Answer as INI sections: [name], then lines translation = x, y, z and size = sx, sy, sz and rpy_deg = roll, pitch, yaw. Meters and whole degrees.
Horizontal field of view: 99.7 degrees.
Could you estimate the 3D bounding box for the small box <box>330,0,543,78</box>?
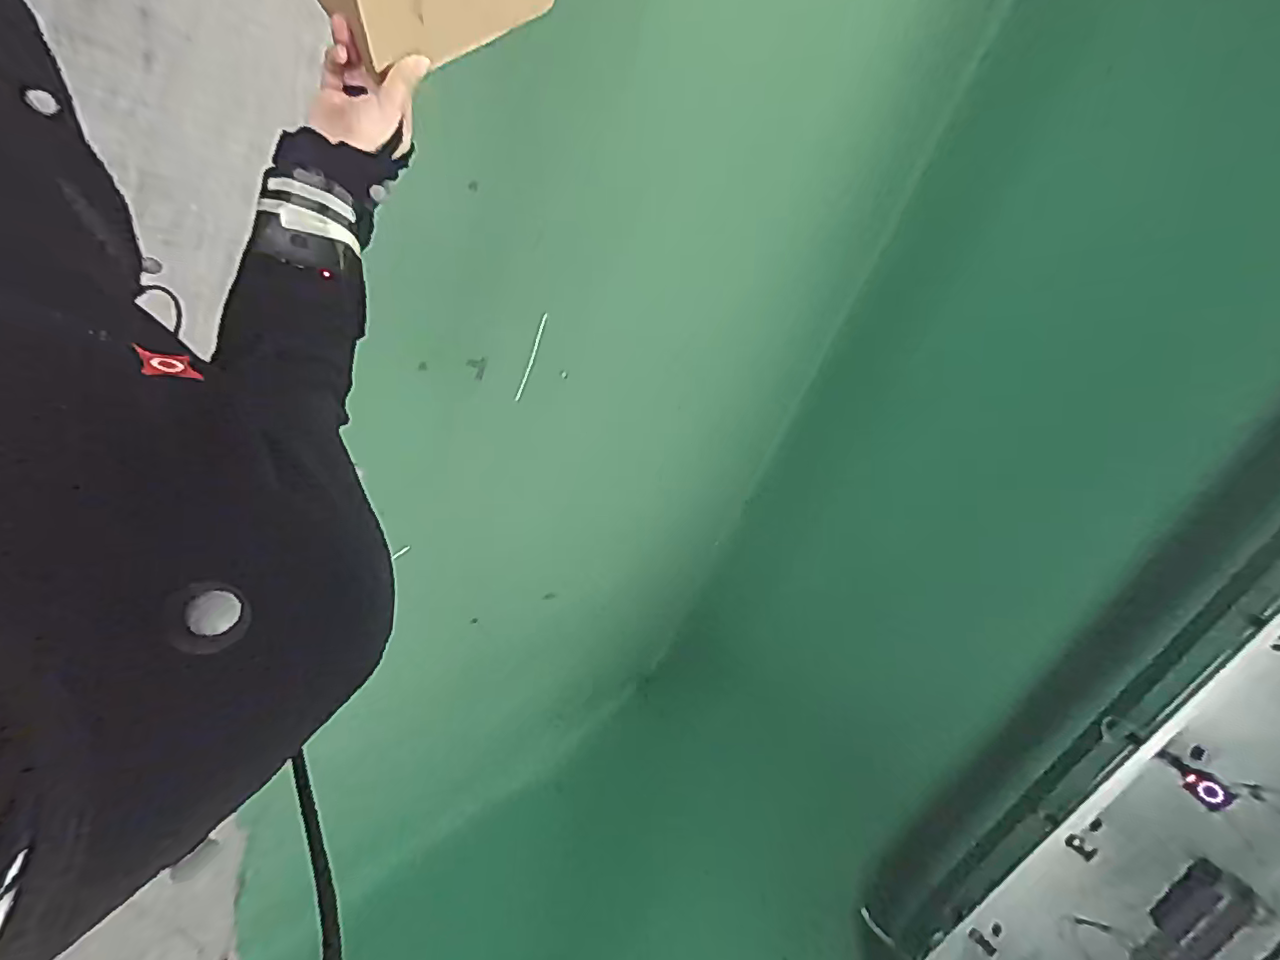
[small box]
translation = -0.162, -0.436, 0.359
size = 0.179, 0.176, 0.168
rpy_deg = -38, -170, -13
